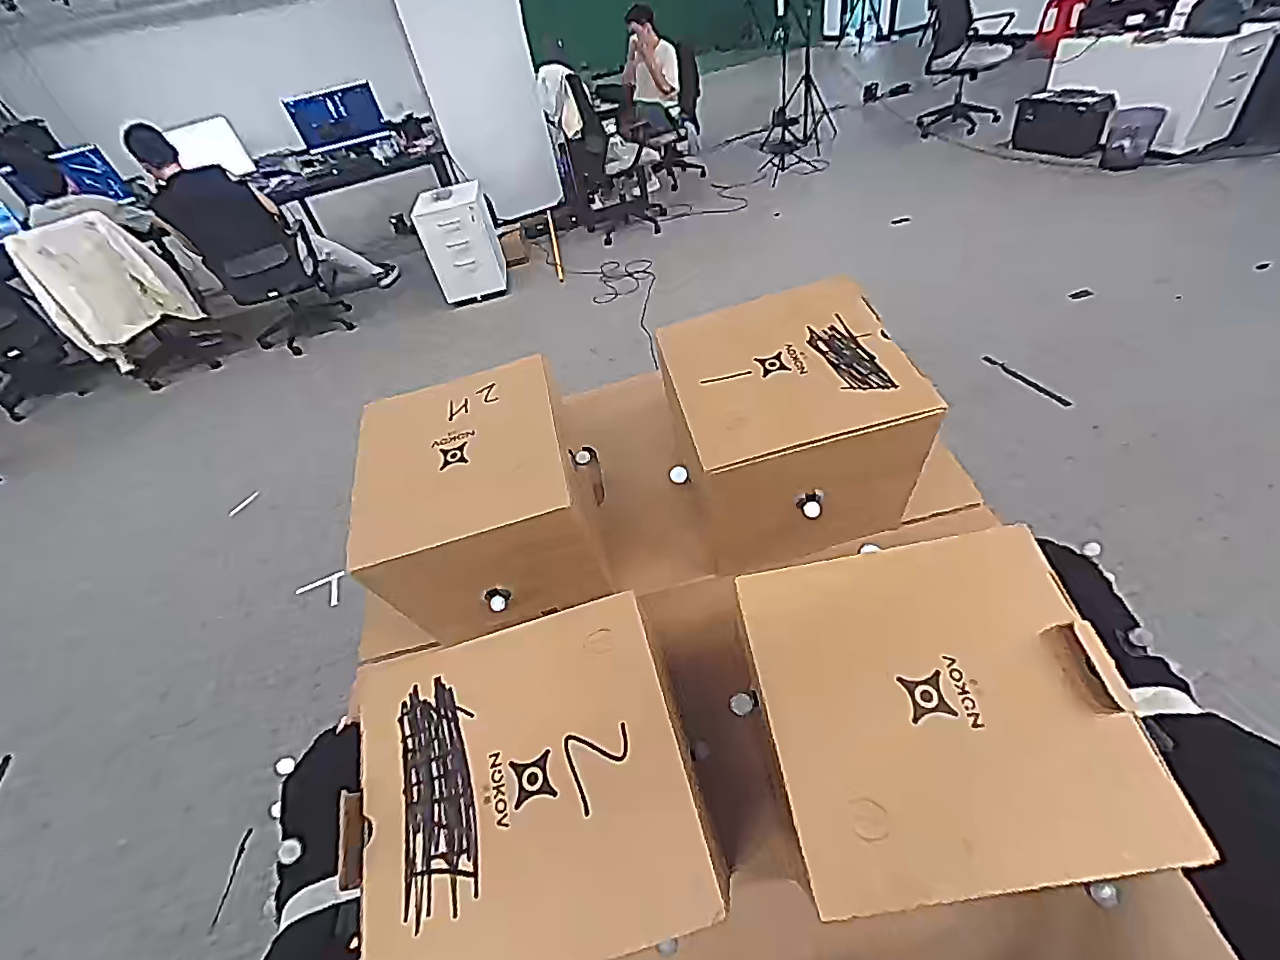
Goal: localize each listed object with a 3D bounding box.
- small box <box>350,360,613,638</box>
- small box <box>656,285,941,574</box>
[{"bbox_3d":[-0.130,0.027,0.494,0.168,0.176,0.179,-16,52,0],"label":"small box"},{"bbox_3d":[0.124,-0.038,0.484,0.179,0.176,0.168,-15,53,2],"label":"small box"}]
